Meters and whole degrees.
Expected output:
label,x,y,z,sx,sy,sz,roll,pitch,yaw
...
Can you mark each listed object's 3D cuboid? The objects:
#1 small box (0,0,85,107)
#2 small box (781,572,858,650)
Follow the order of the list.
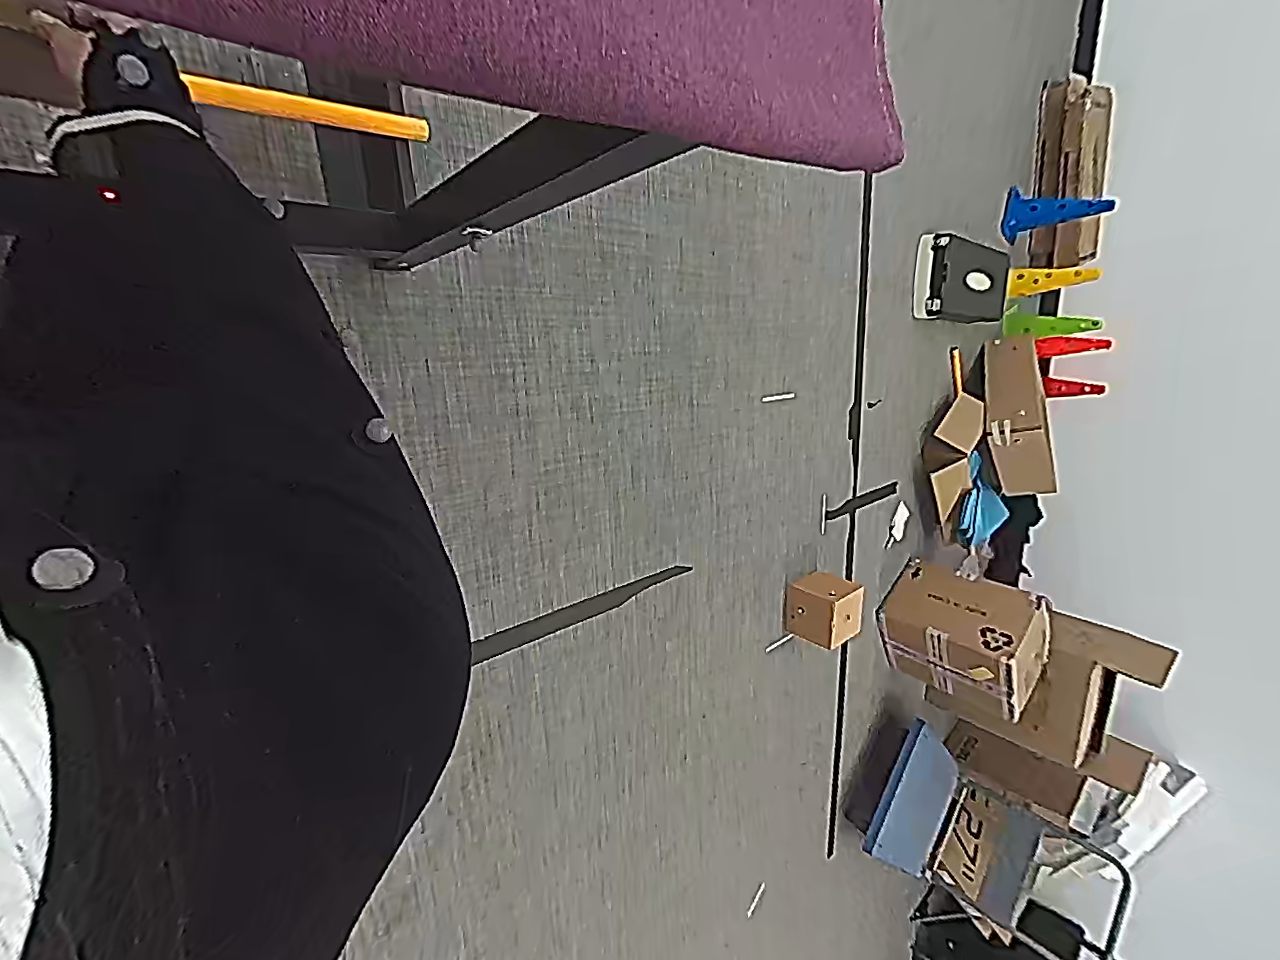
label,x,y,z,sx,sy,sz,roll,pitch,yaw
small box,-0.523,-0.402,0.378,0.168,0.176,0.179,-13,110,-42
small box,0.581,0.416,1.752,0.179,0.176,0.168,-13,109,-38
